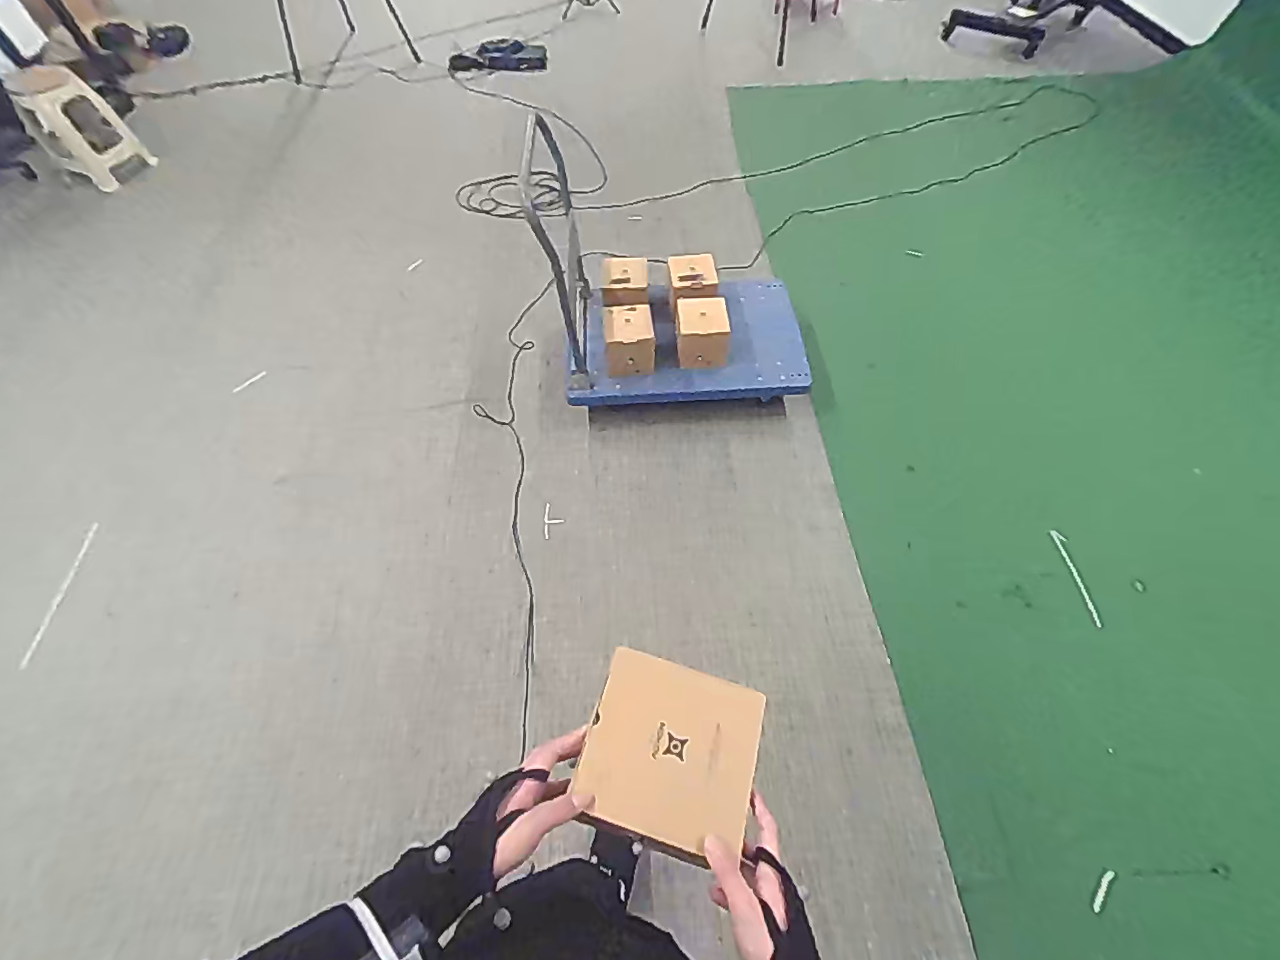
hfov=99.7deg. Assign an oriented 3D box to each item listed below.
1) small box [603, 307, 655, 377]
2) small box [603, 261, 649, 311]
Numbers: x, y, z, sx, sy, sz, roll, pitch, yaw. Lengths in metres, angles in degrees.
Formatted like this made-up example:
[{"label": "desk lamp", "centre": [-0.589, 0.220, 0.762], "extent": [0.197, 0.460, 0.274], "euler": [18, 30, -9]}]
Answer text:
[{"label": "small box", "centre": [-0.037, -0.473, 1.883], "extent": [0.168, 0.176, 0.179], "euler": [-5, 58, -2]}, {"label": "small box", "centre": [-0.049, -0.693, 2.026], "extent": [0.168, 0.176, 0.179], "euler": [-1, 57, 0]}]
